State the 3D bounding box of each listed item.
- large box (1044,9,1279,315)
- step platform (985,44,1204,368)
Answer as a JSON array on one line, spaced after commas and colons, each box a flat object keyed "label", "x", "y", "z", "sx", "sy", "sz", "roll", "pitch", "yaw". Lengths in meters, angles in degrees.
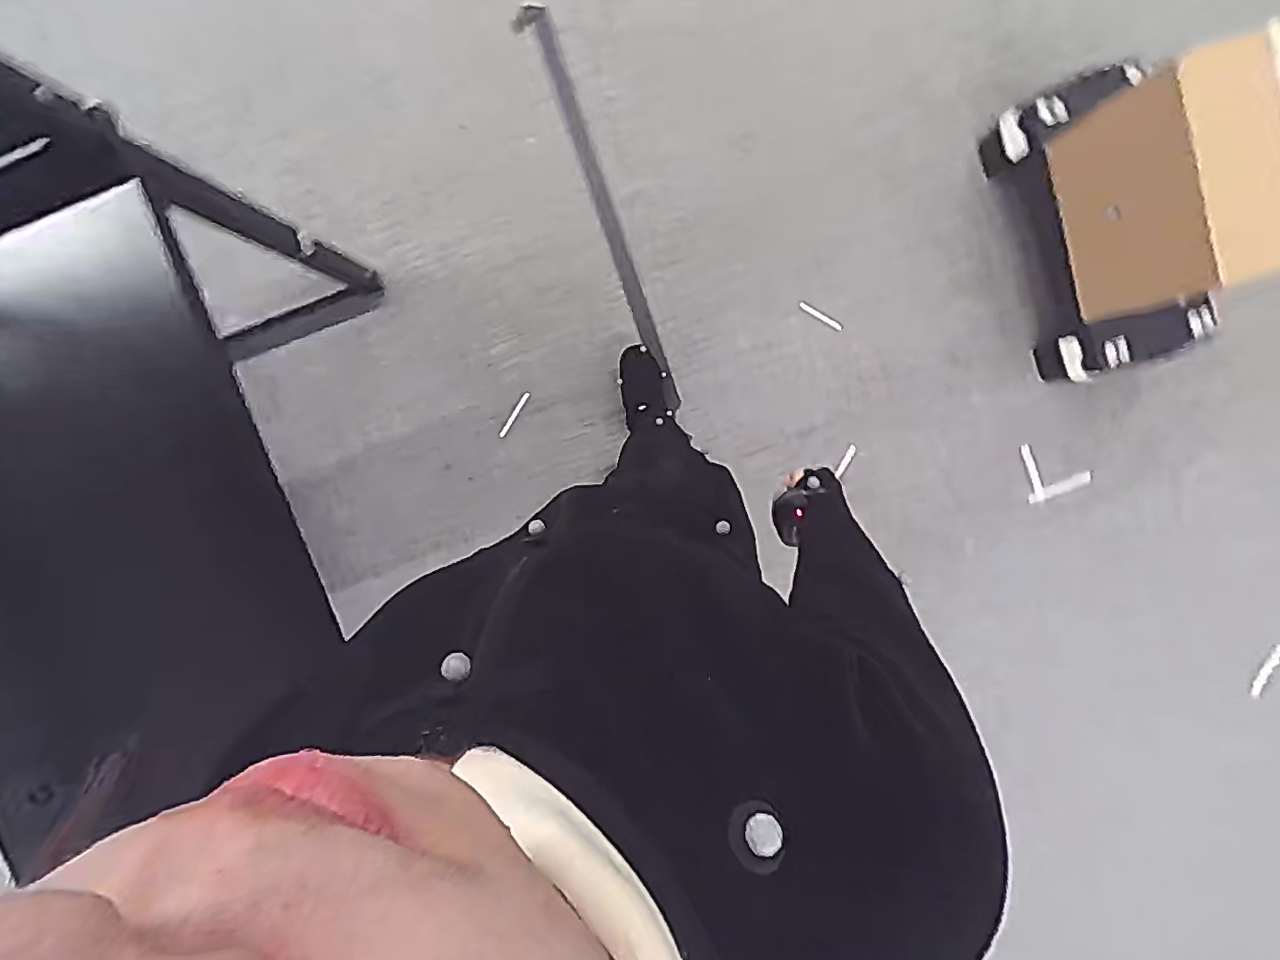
[{"label": "large box", "x": 1.091, "y": -0.593, "z": 1.059, "sx": 0.320, "sy": 0.320, "sz": 0.408, "roll": -17, "pitch": 94, "yaw": 2}, {"label": "step platform", "x": 1.079, "y": -0.630, "z": 1.295, "sx": 0.286, "sy": 0.204, "sz": 0.684, "roll": -15, "pitch": 94, "yaw": 3}]
